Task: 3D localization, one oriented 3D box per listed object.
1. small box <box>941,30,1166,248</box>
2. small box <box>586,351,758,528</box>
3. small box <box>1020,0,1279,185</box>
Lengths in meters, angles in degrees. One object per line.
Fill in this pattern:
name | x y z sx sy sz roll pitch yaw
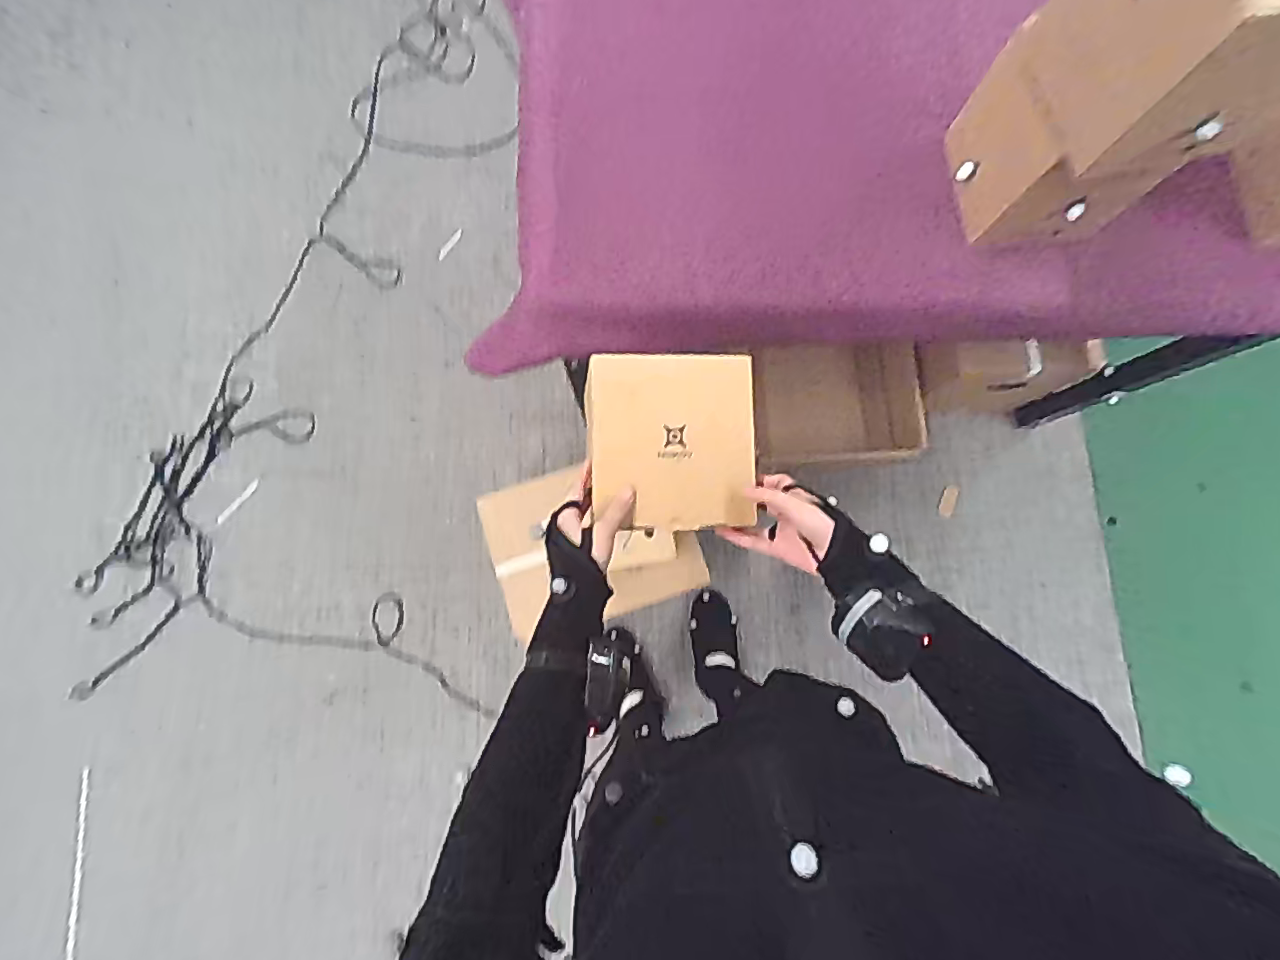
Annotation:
small box | 0.507 -0.407 0.666 0.168 0.176 0.179 -5 79 -1
small box | 0.025 -0.036 0.613 0.168 0.176 0.179 -1 87 -7
small box | 0.501 -0.415 0.499 0.168 0.176 0.179 -12 79 -1
